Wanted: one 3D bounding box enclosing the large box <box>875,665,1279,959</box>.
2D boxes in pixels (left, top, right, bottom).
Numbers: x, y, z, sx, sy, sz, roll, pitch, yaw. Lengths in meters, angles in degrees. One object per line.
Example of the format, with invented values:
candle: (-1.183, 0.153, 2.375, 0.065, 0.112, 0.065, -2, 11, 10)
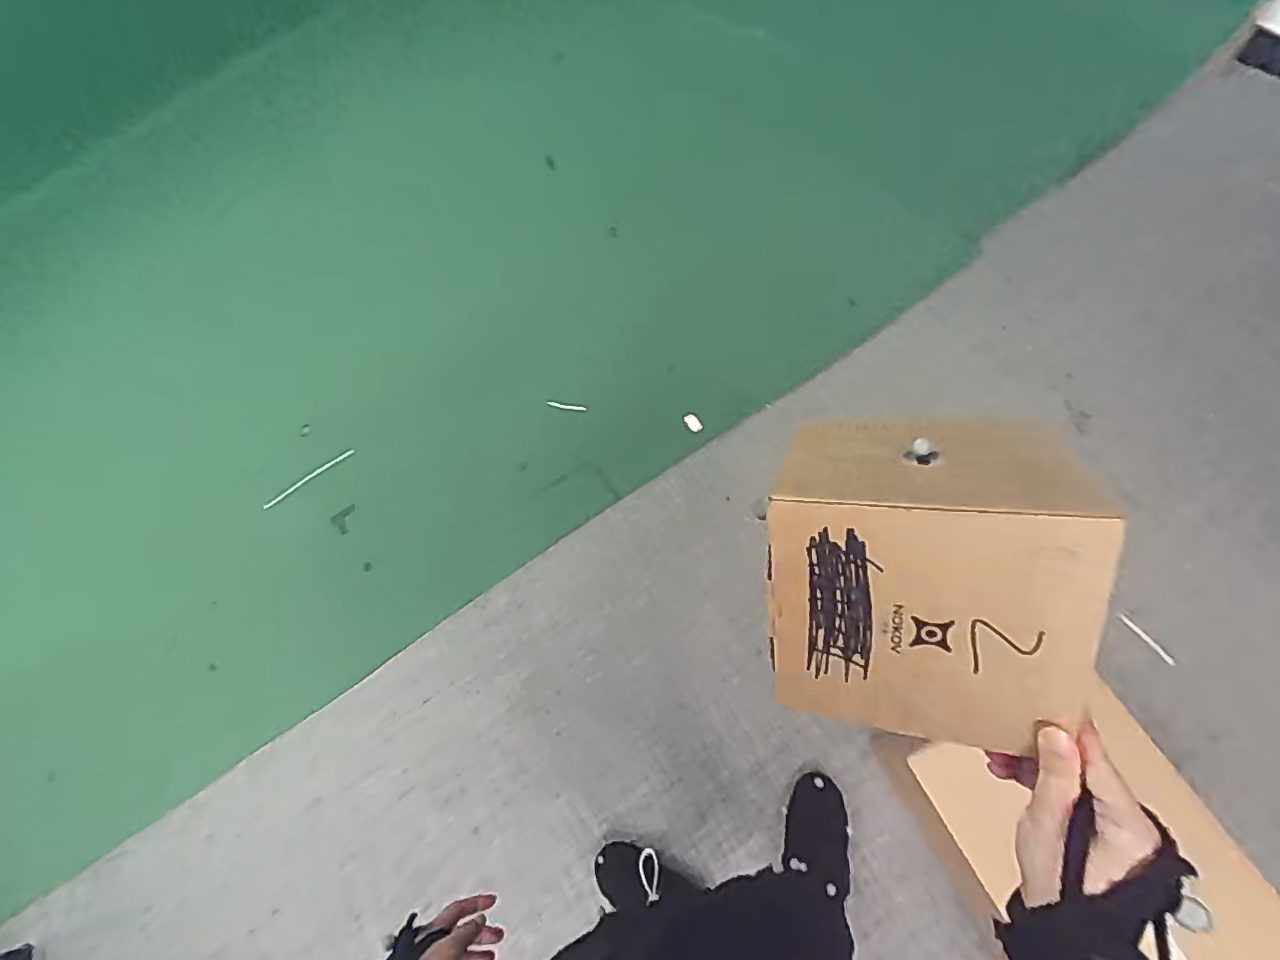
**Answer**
large box: (0.649, 0.556, 0.854, 0.320, 0.320, 0.408, -29, 65, 1)
